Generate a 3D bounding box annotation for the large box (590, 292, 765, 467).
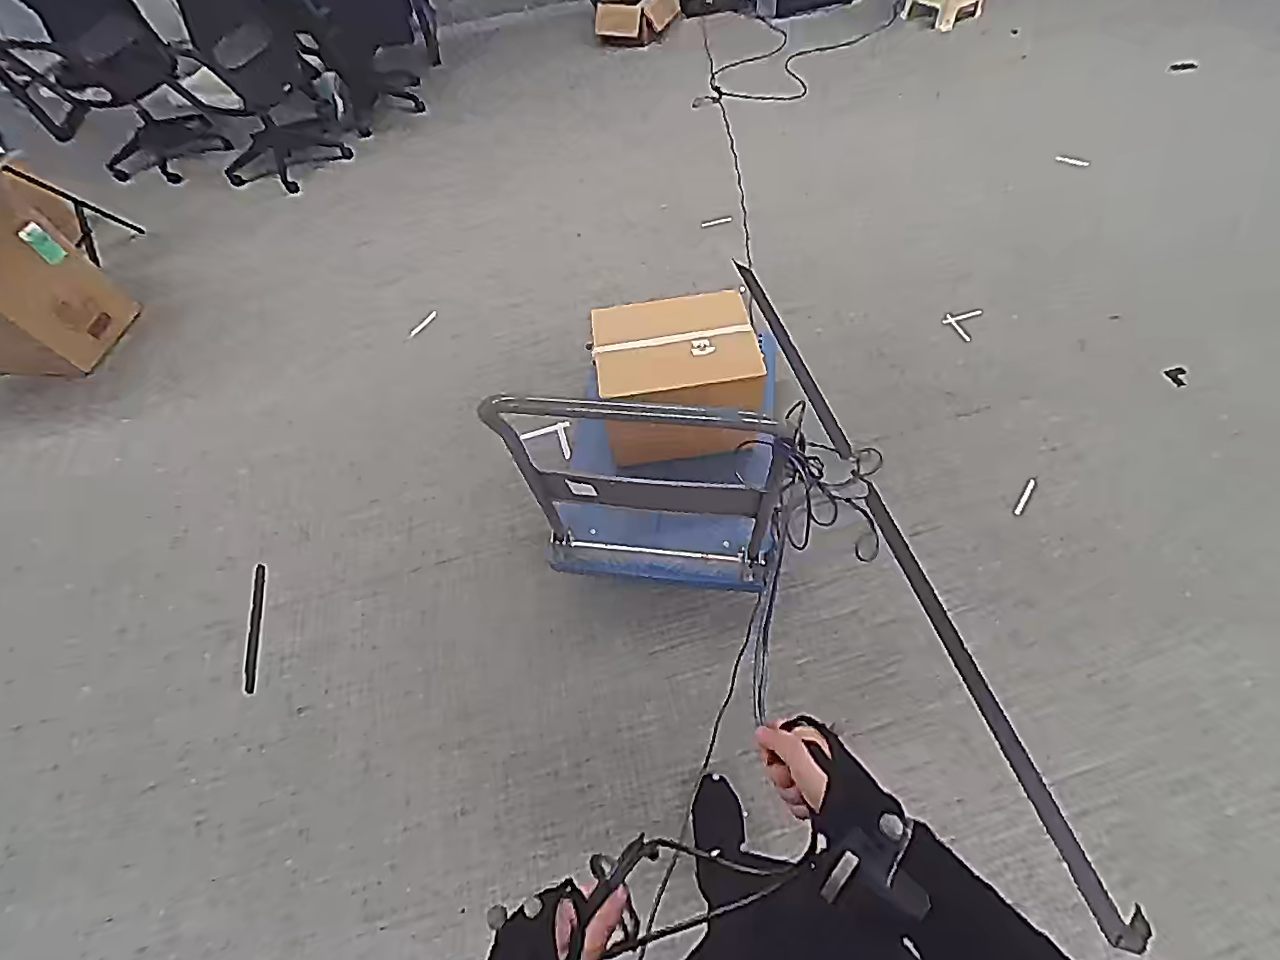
[{"bbox_3d":[0.092,-0.265,1.475,0.408,0.320,0.320,-8,59,0],"label":"large box"}]
